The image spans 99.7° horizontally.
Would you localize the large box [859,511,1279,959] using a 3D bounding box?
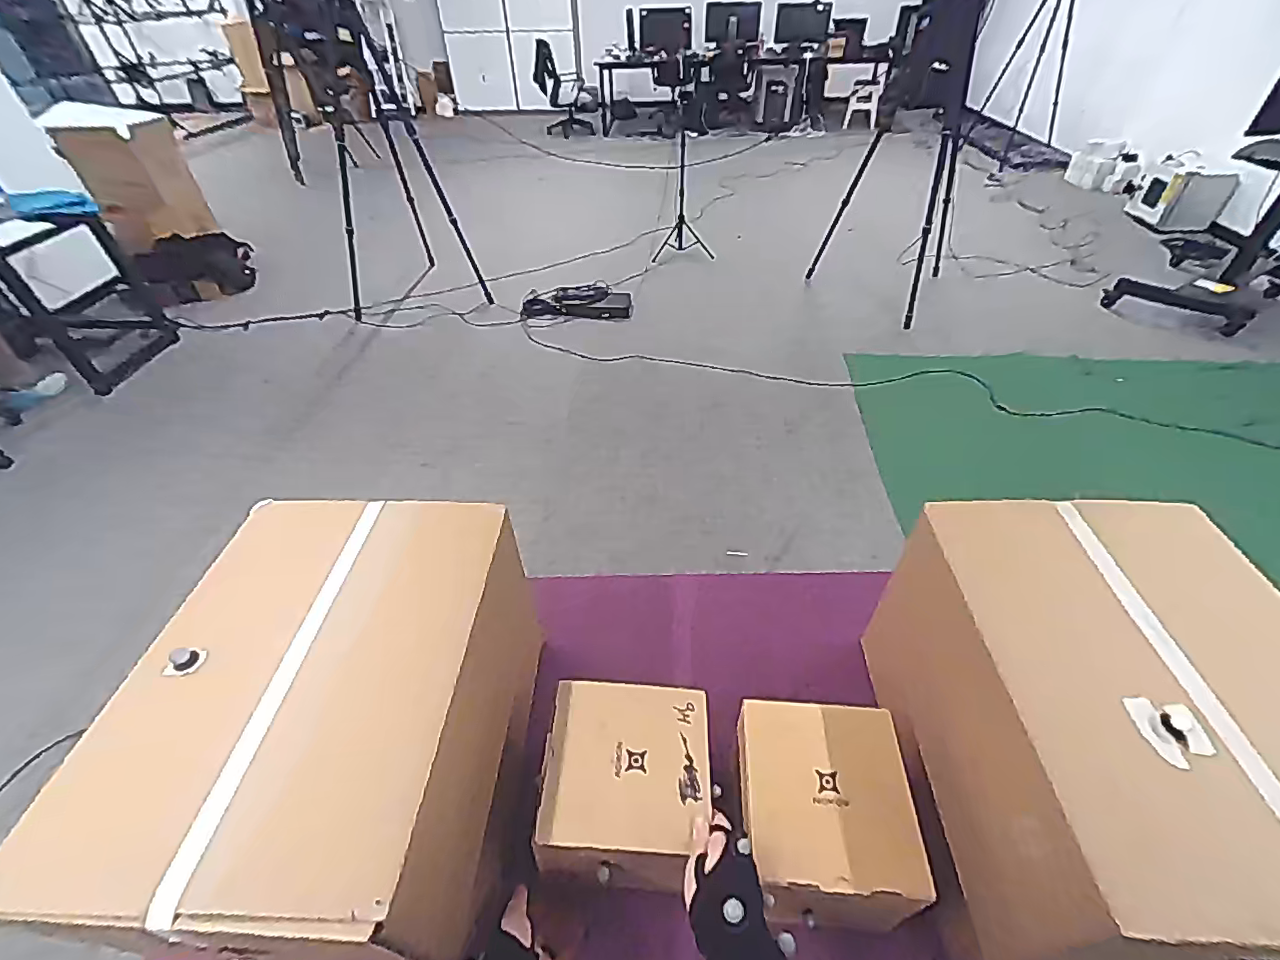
[{"bbox_3d":[0.485,0.286,0.607,0.320,0.320,0.408,1,44,3],"label":"large box"}]
